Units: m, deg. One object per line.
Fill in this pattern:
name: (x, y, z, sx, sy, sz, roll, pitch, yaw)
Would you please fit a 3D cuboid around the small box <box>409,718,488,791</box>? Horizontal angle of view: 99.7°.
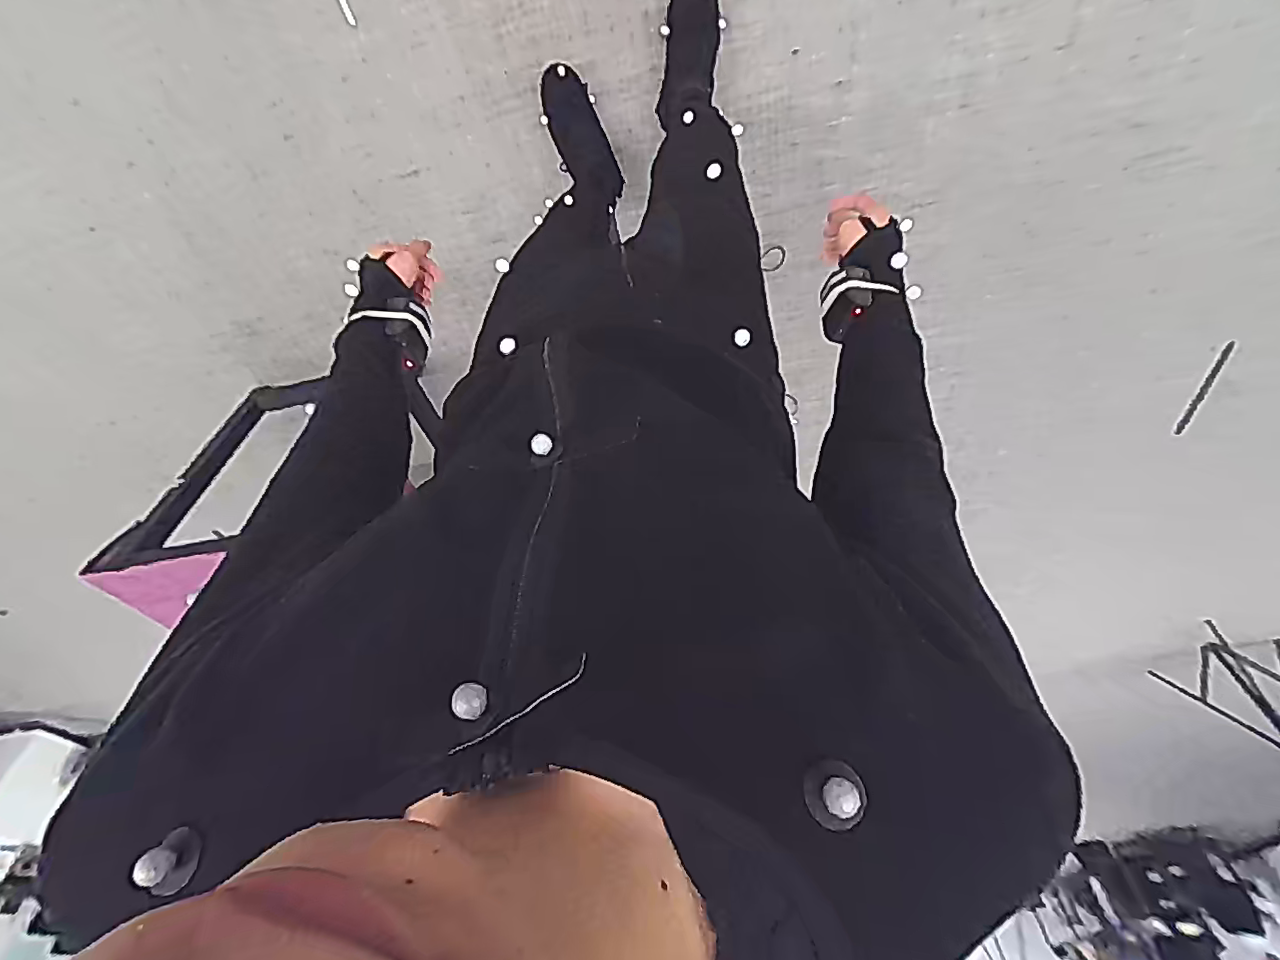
small box: (-0.628, 0.911, 1.795, 0.179, 0.176, 0.168, -12, 134, 10)
